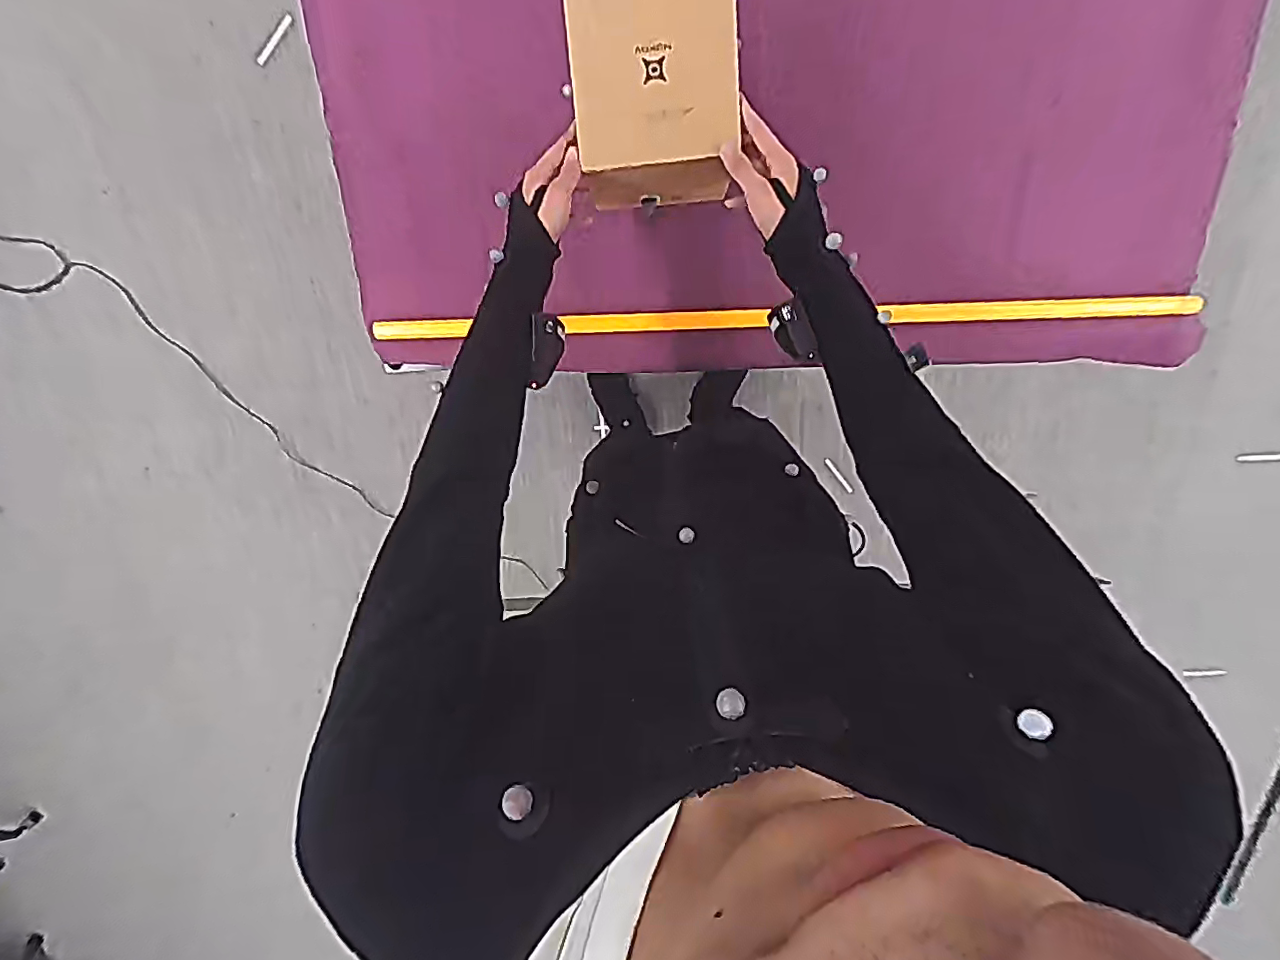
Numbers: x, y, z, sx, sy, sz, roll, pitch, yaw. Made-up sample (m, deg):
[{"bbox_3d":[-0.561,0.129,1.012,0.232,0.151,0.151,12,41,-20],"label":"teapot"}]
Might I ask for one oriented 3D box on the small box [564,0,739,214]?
[{"bbox_3d":[0.014,-0.420,0.605,0.168,0.176,0.179,-5,102,4],"label":"small box"}]
